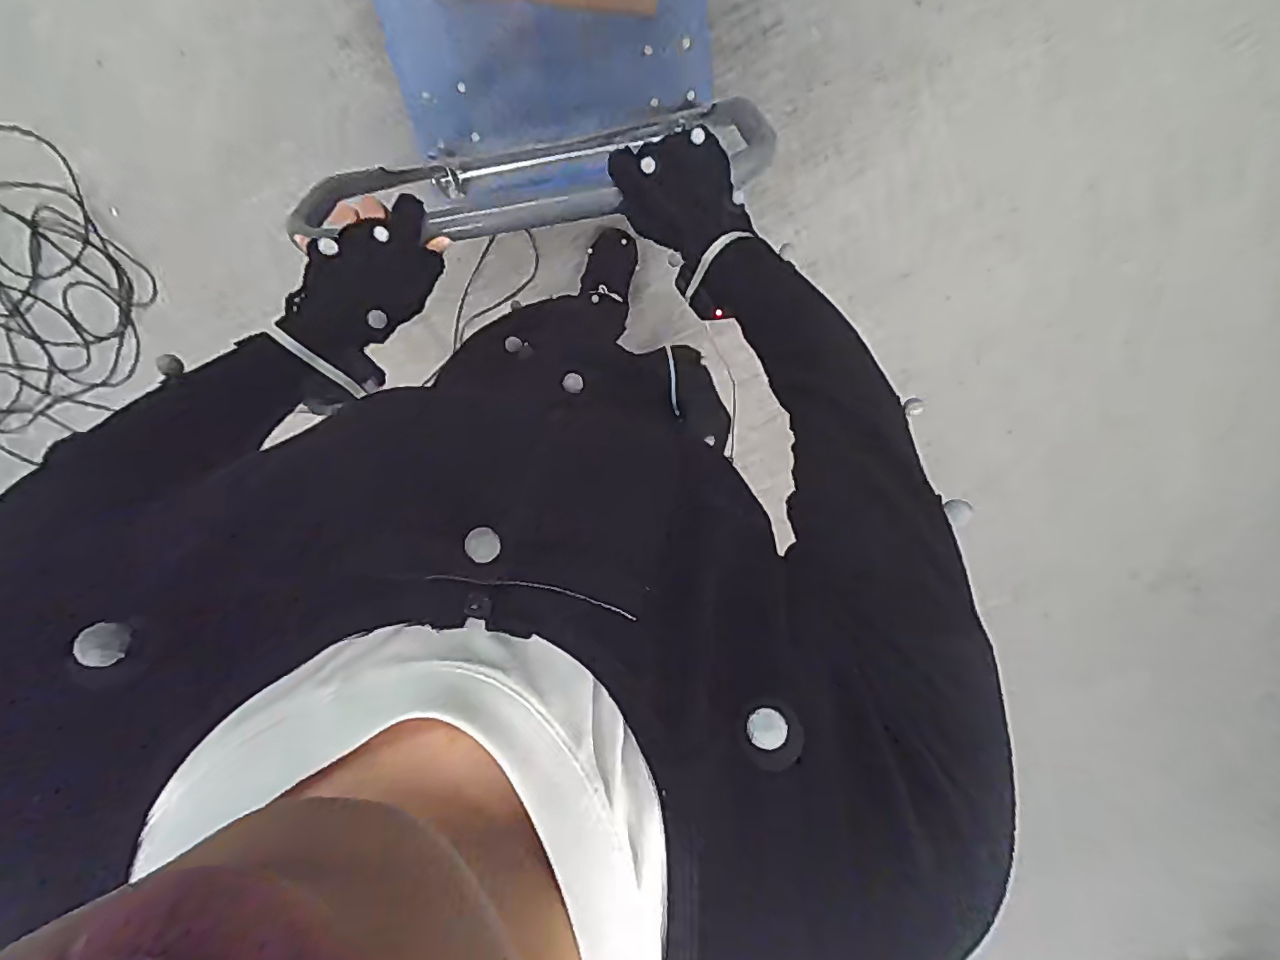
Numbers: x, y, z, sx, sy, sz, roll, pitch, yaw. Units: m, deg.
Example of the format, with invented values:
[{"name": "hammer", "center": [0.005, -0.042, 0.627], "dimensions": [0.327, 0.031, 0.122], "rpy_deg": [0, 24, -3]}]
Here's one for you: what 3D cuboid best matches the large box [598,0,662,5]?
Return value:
[{"name": "large box", "center": [-0.148, -0.902, 0.742], "dimensions": [0.408, 0.320, 0.320], "rpy_deg": [5, 120, -3]}]
